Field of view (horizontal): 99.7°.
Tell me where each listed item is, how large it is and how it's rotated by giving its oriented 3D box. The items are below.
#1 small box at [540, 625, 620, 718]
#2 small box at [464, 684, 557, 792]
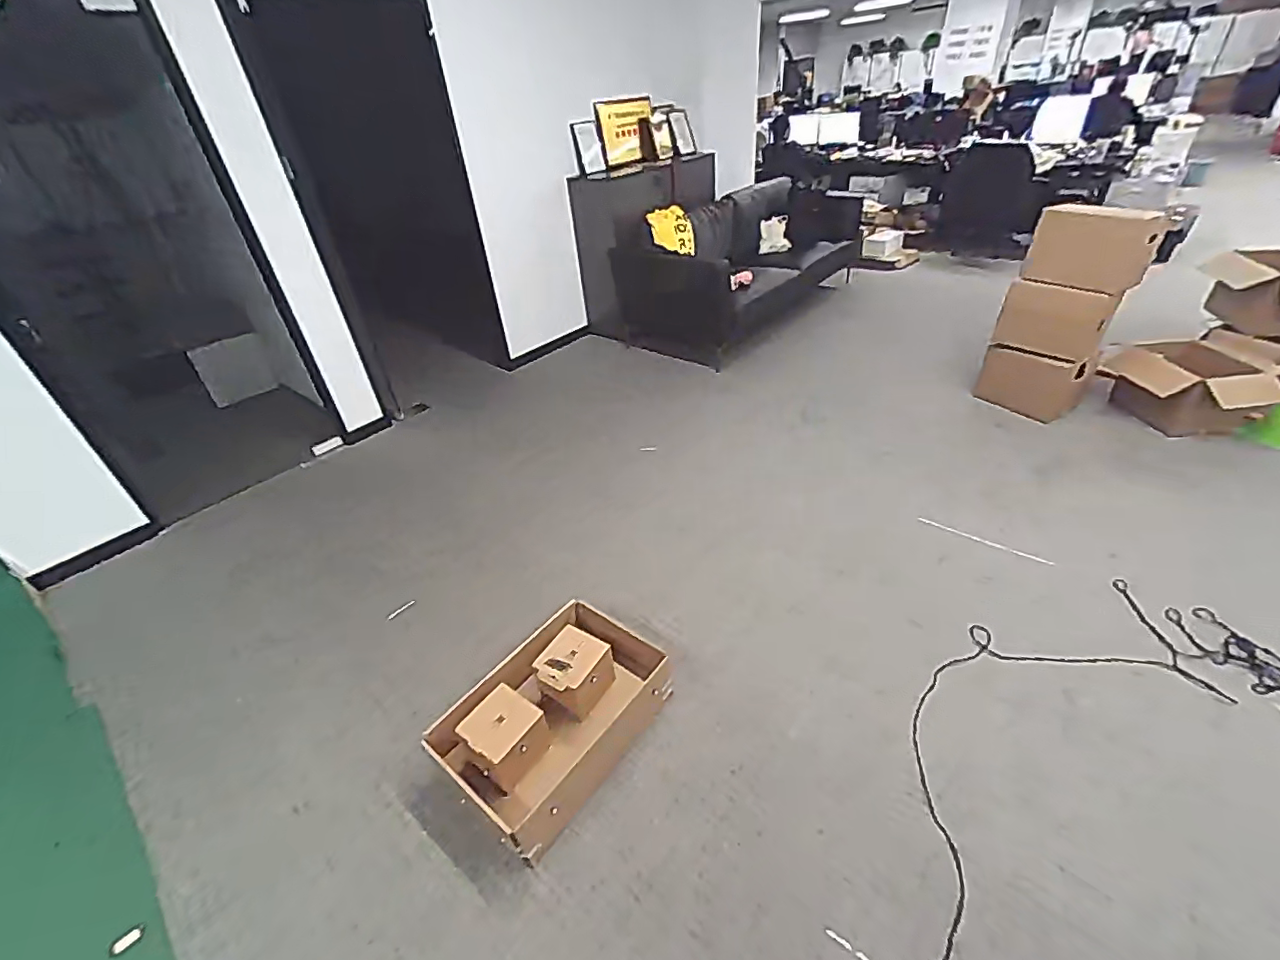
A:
[{"bbox_3d":[-0.175,0.585,1.649,0.168,0.176,0.179,17,42,29],"label":"small box"},{"bbox_3d":[-0.350,0.716,1.497,0.168,0.176,0.179,21,43,31],"label":"small box"}]
